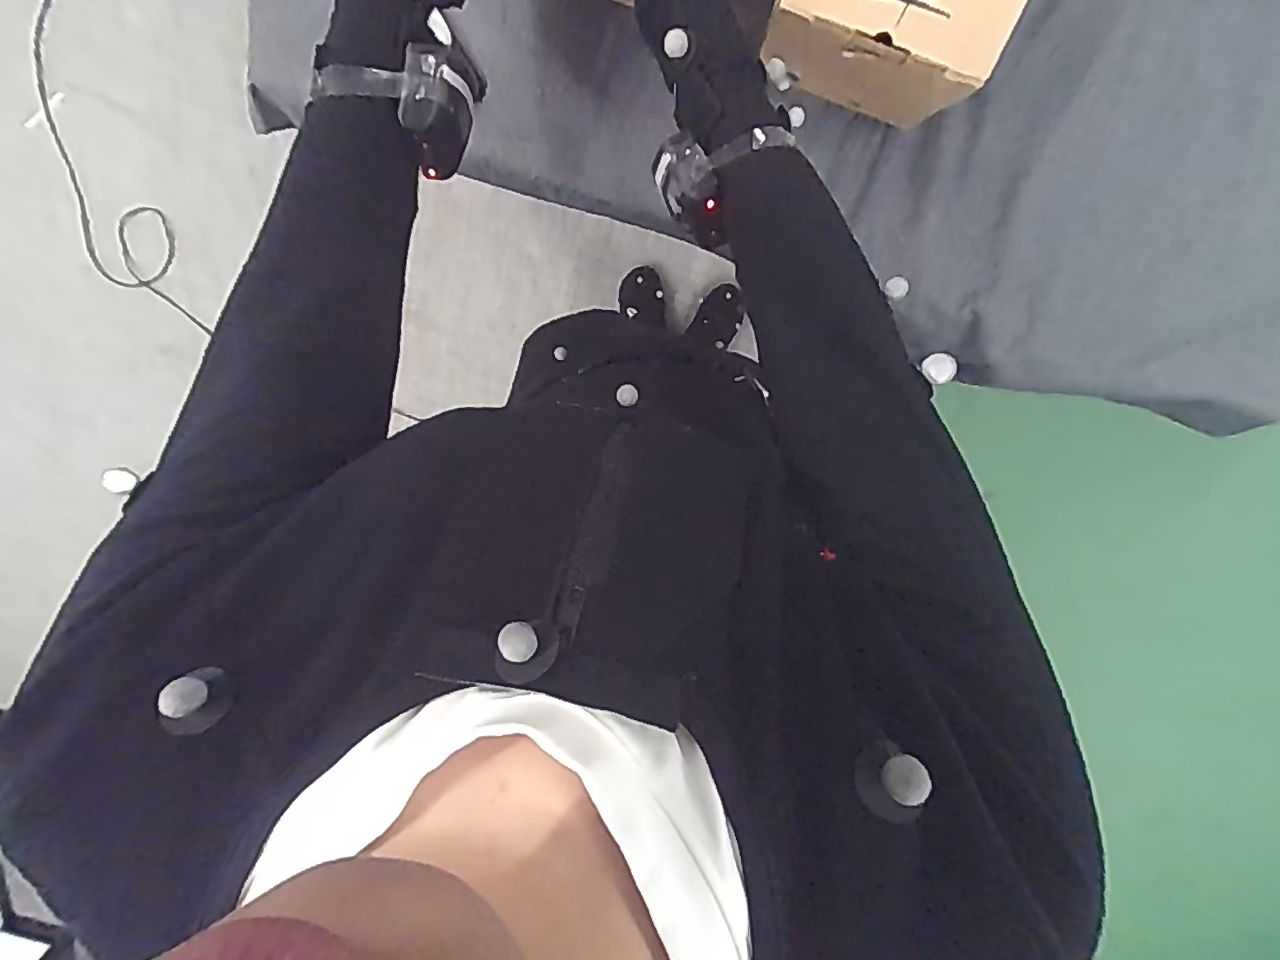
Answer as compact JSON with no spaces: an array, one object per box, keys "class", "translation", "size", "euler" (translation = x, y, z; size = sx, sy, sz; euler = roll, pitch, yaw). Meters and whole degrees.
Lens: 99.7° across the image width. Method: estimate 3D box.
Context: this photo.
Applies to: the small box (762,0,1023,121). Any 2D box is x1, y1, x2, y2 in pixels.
[{"class":"small box","translation":[0.208,-0.419,0.429],"size":[0.168,0.176,0.179],"euler":[19,114,-3]}]
